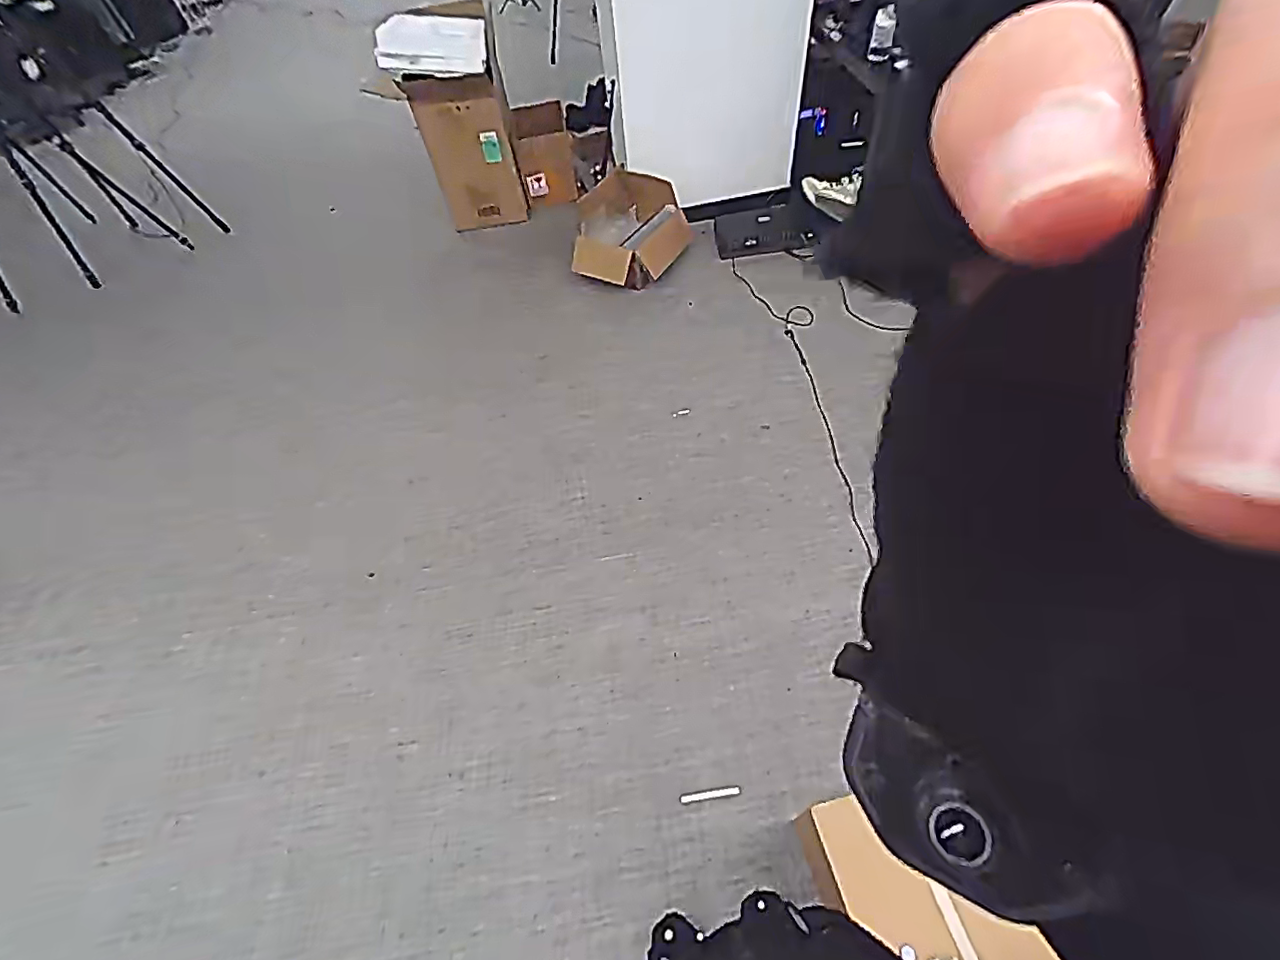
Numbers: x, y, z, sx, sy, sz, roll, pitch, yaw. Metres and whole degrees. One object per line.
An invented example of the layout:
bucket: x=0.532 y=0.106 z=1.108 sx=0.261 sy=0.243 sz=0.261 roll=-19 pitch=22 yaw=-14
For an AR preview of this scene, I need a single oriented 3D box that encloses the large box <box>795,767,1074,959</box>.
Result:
large box: x=0.529 y=0.812 z=1.010 sx=0.320 sy=0.320 sz=0.408 roll=-15 pitch=55 yaw=-2
